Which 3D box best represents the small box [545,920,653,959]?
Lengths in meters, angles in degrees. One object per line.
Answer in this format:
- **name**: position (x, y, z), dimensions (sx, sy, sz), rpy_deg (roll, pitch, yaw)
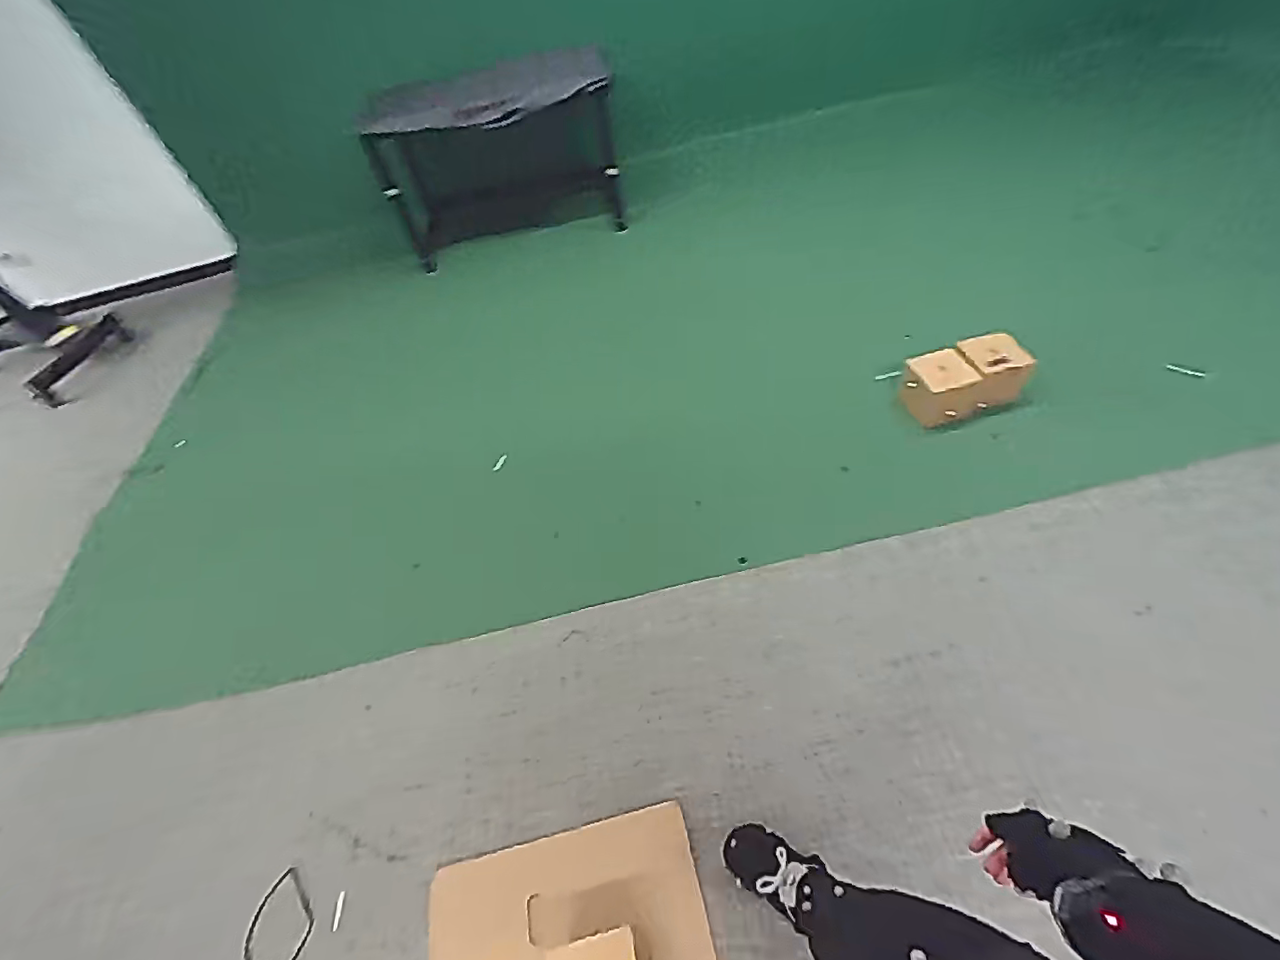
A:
- **small box**: position (-0.066, 0.970, 1.033), dimensions (0.179, 0.176, 0.168), rpy_deg (-17, 50, -2)
